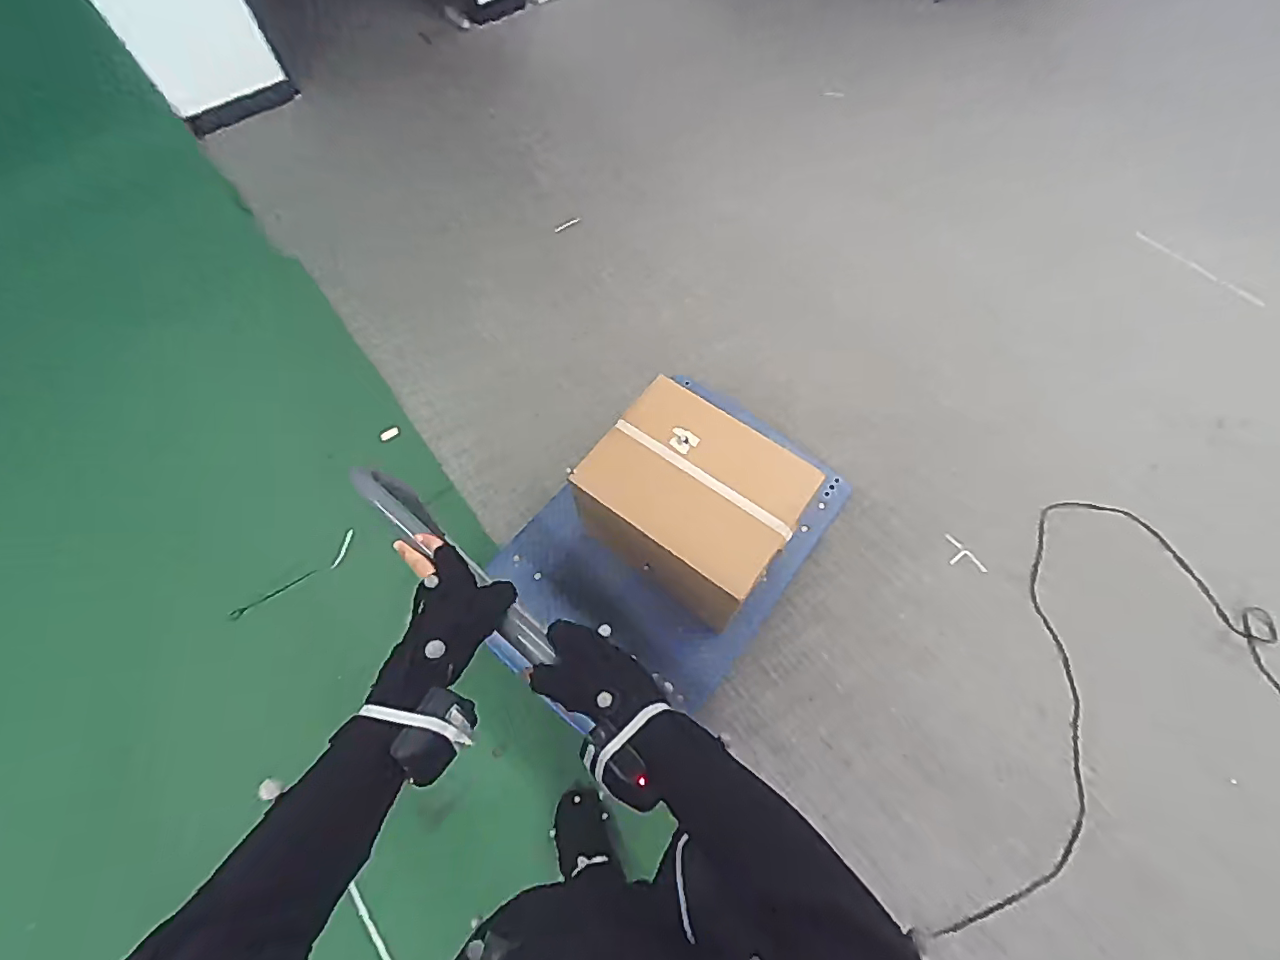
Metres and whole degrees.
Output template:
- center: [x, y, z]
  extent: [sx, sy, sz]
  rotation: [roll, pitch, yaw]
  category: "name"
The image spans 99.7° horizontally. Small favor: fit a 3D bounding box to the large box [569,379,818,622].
- center: [0.112, 0.056, 1.202]
  extent: [0.408, 0.320, 0.320]
  rotation: [34, 69, 16]
  category: "large box"
